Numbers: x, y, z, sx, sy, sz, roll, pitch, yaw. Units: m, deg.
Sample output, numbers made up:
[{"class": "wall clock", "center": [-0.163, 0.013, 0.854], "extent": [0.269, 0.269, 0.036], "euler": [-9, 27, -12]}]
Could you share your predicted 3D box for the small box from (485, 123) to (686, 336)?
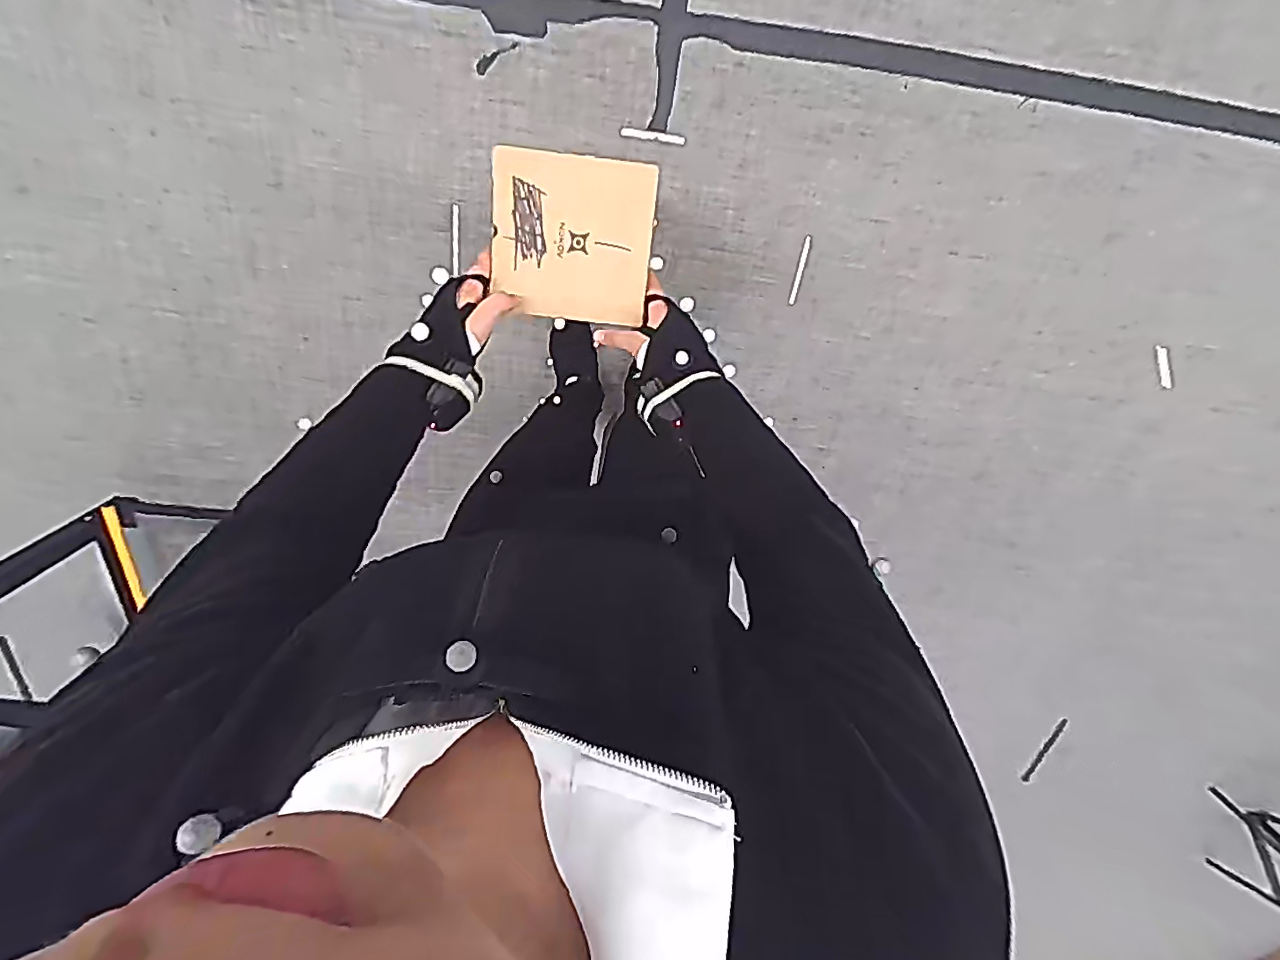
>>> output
[{"class": "small box", "center": [-0.053, -0.250, 0.570], "extent": [0.179, 0.176, 0.168], "euler": [5, 109, -2]}]
